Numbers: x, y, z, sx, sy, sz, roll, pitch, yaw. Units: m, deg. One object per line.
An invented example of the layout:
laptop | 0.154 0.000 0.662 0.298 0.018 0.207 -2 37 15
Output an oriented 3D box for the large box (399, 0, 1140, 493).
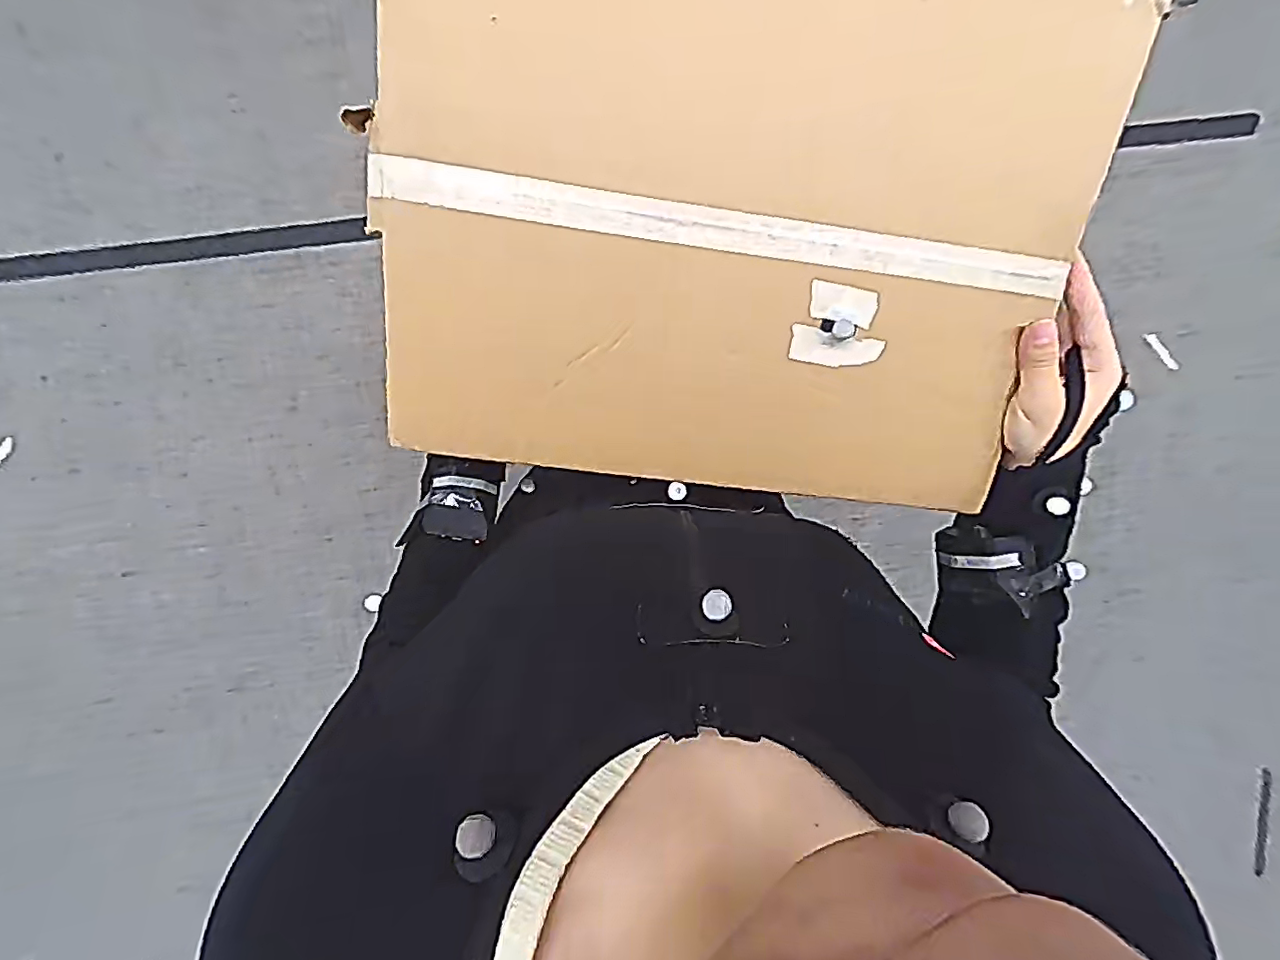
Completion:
large box | 0.051 -0.198 0.462 0.408 0.320 0.320 5 110 -7
